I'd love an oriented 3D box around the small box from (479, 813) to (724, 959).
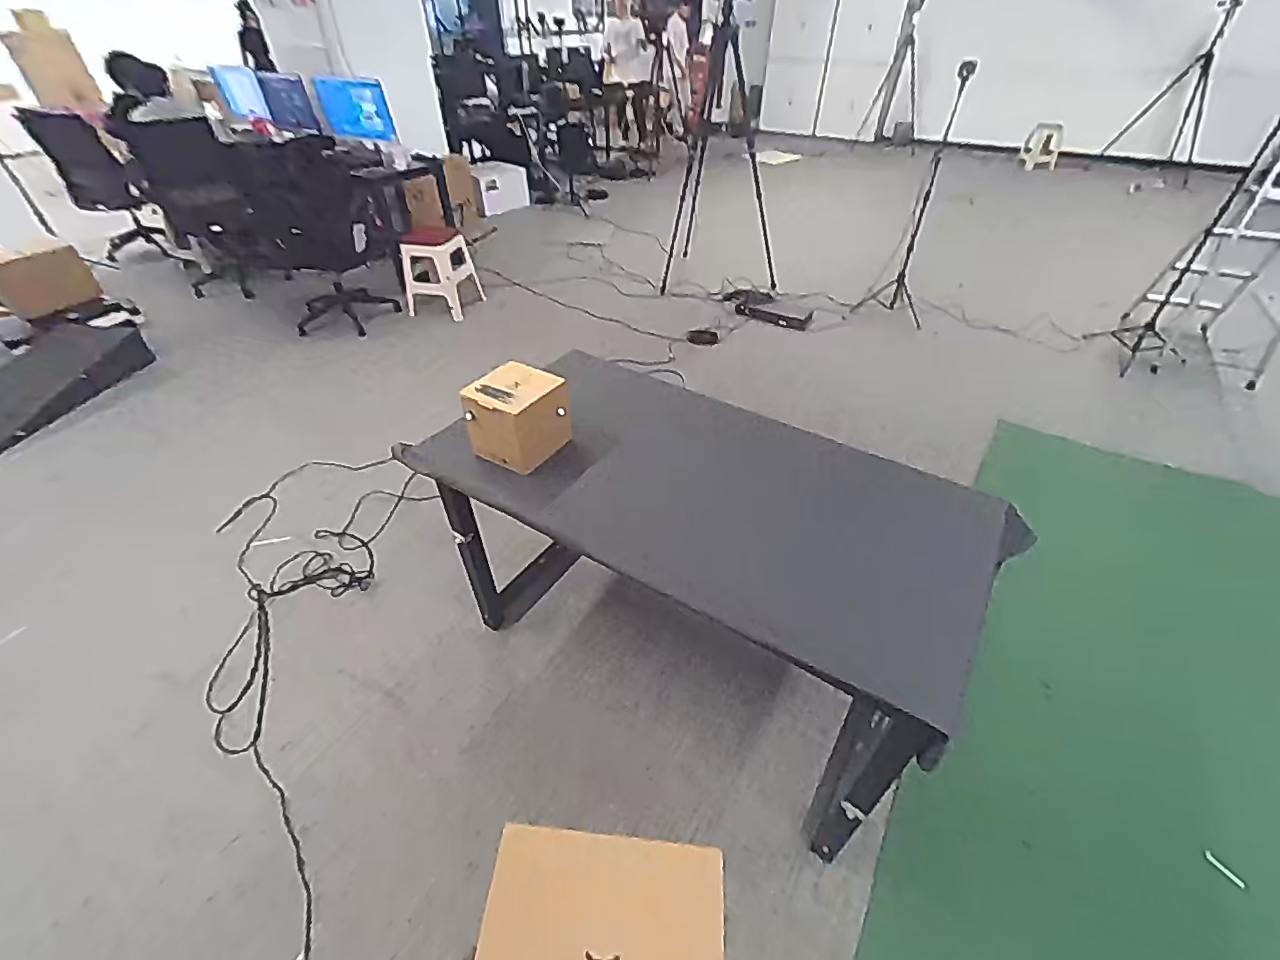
[{"bbox_3d":[-0.032,0.382,0.412,0.168,0.176,0.179,6,47,2],"label":"small box"}]
